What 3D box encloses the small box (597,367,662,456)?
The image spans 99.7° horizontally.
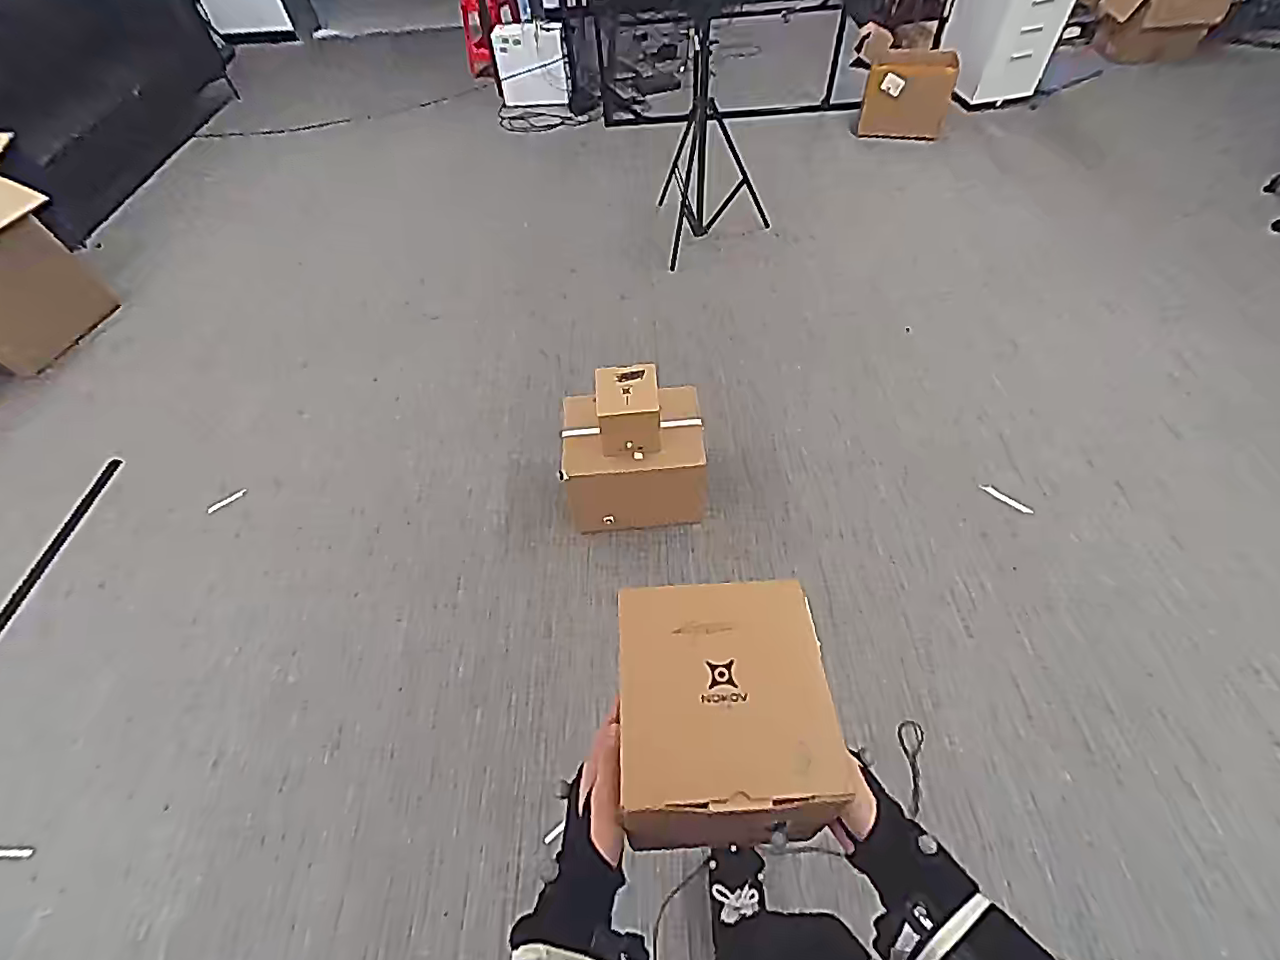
[{"bbox_3d":[-0.029,-0.187,1.492,0.168,0.176,0.179,-5,55,1],"label":"small box"}]

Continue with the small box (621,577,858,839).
[{"bbox_3d":[0.070,0.209,0.487,0.168,0.176,0.179,-2,47,-1],"label":"small box"}]
